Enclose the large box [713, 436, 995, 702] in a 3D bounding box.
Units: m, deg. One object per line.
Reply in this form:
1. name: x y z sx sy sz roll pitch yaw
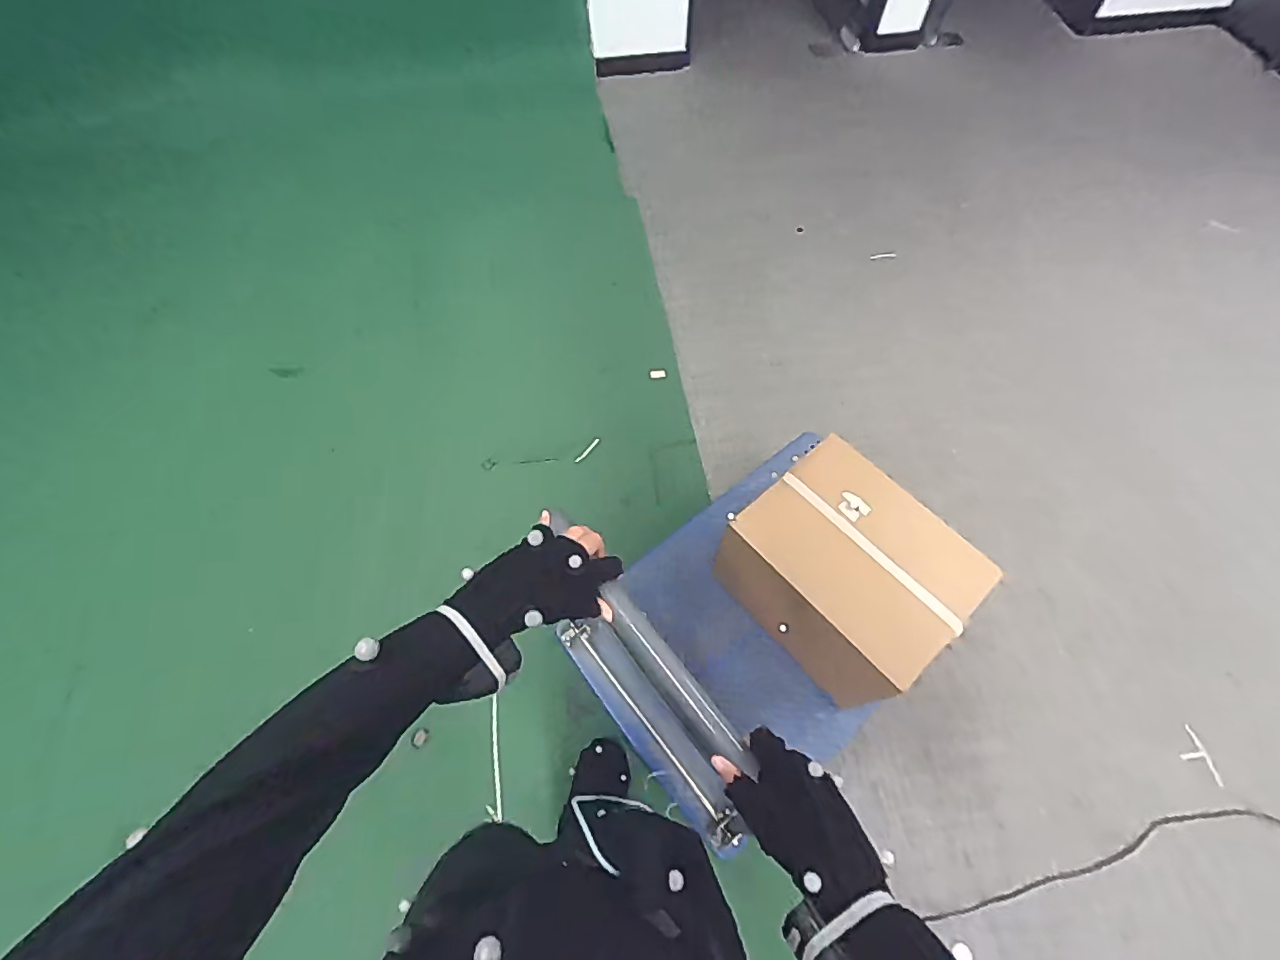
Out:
1. large box: 0.413 0.194 1.144 0.320 0.320 0.408 -37 68 -19
